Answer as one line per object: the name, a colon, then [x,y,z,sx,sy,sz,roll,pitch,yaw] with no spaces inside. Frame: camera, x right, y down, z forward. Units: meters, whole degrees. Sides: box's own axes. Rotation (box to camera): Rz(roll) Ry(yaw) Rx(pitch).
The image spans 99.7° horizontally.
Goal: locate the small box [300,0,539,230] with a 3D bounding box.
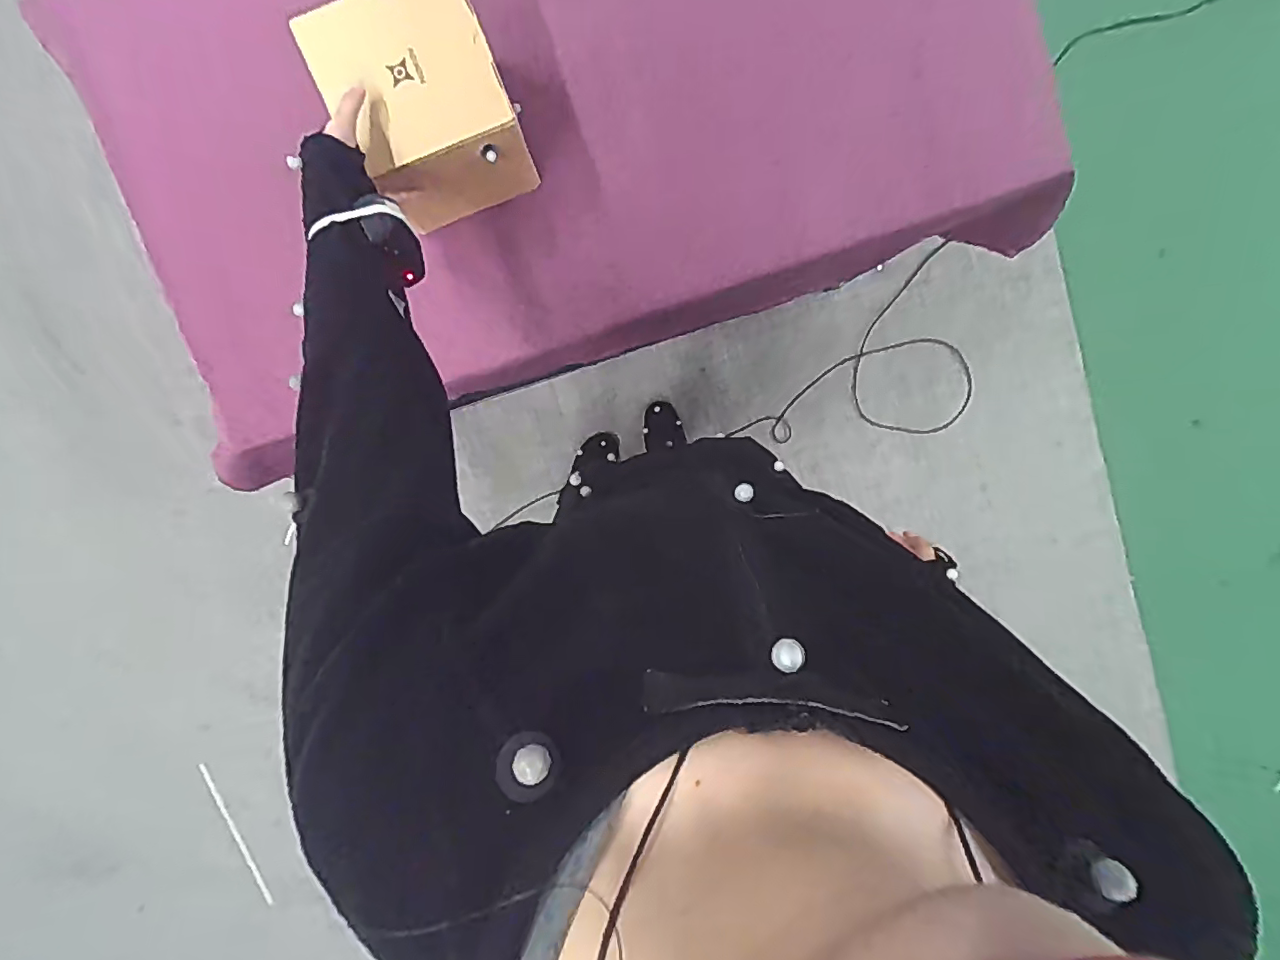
small box: [-0.236,-0.423,0.630,0.179,0.176,0.168,-23,97,0]
